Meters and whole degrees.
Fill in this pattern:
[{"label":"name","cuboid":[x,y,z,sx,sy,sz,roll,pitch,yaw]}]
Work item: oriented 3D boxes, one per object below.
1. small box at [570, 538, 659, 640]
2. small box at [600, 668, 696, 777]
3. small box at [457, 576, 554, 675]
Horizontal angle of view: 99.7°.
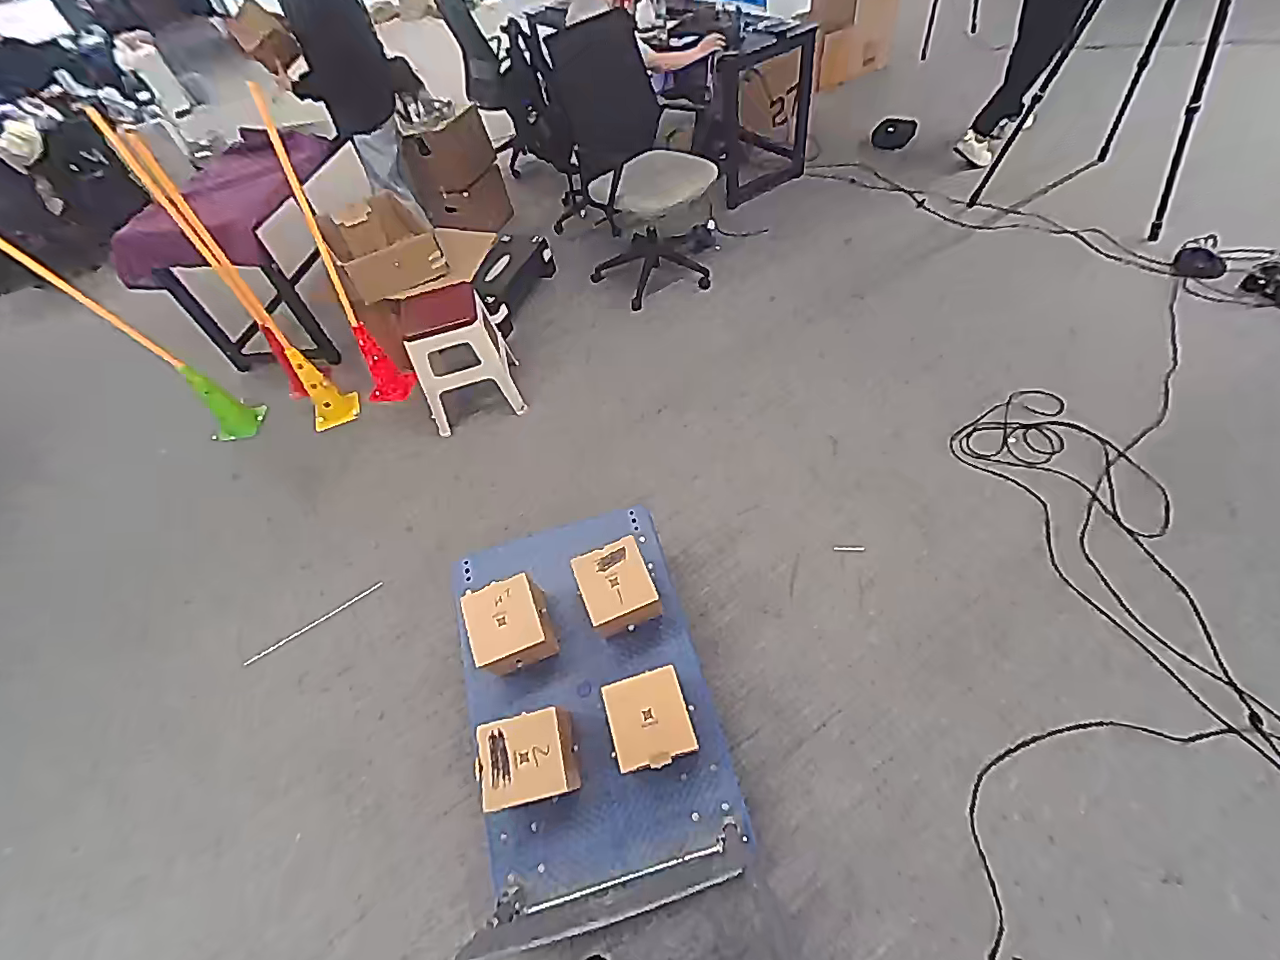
[{"label":"small box","cuboid":[-0.060,0.274,1.336,0.168,0.176,0.179,-21,65,-6]},{"label":"small box","cuboid":[0.018,0.539,1.200,0.168,0.176,0.179,-17,64,-4]},{"label":"small box","cuboid":[-0.319,0.361,1.312,0.168,0.176,0.179,-20,64,-7]}]
